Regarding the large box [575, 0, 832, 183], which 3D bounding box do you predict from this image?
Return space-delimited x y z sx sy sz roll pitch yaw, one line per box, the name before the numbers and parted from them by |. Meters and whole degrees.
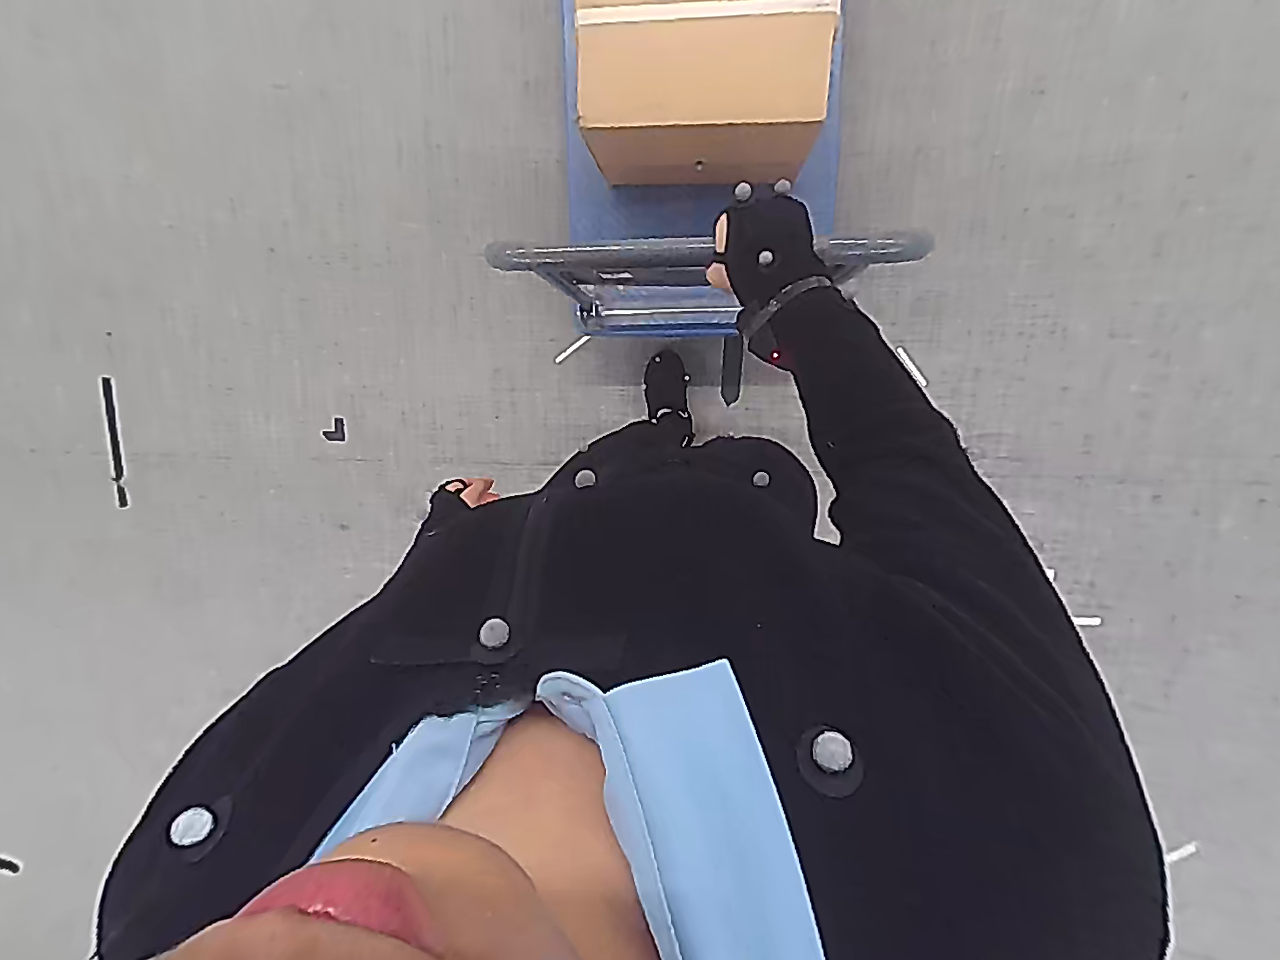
large box | 0.113 -0.755 0.979 0.408 0.320 0.320 3 102 7
